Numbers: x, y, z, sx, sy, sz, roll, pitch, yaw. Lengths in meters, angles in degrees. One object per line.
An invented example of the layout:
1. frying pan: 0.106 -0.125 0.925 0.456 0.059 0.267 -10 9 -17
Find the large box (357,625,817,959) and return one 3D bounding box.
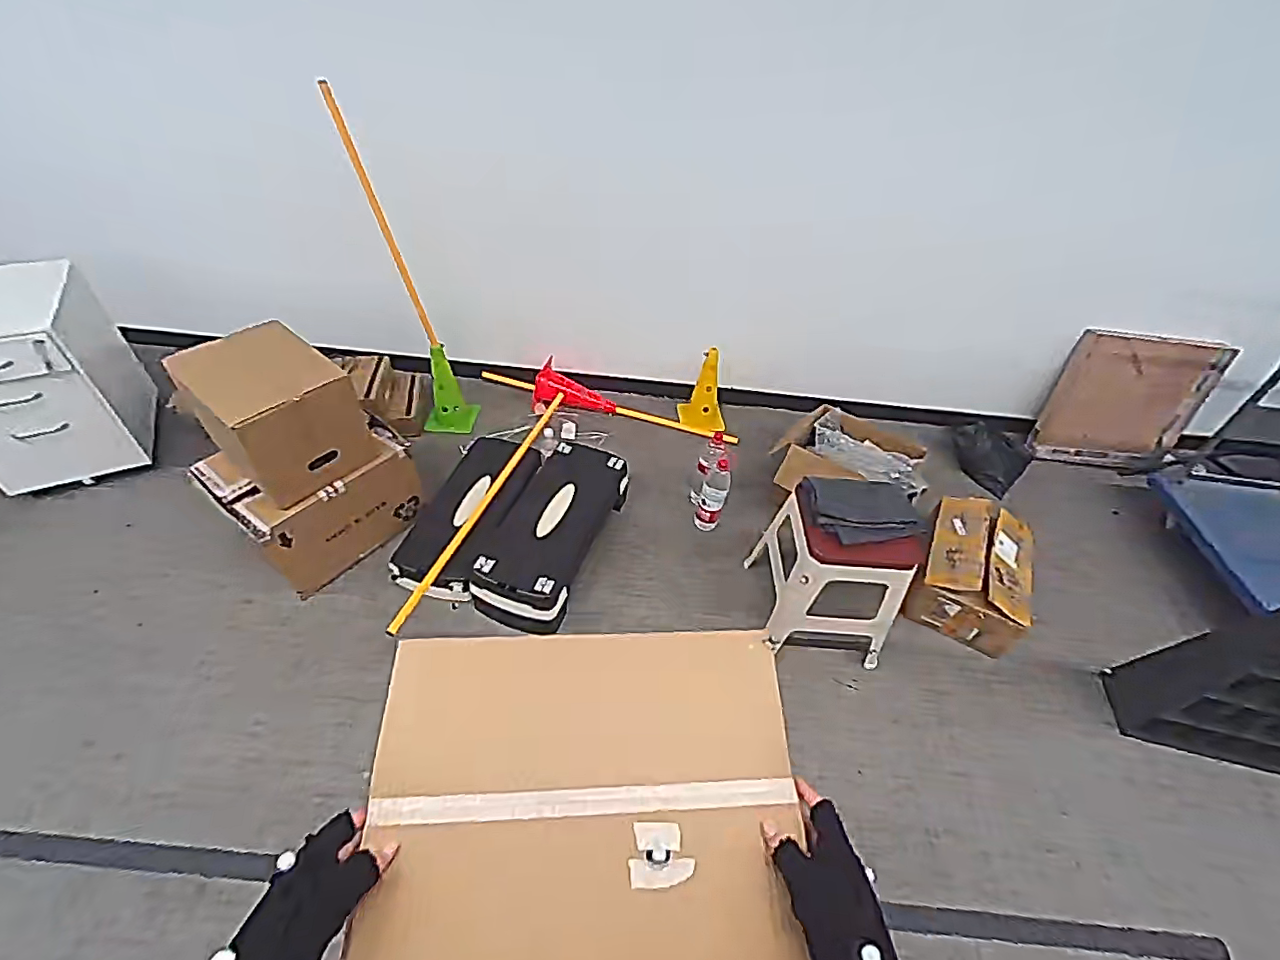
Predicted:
1. large box: -0.059 0.380 0.658 0.408 0.320 0.320 0 60 -4
